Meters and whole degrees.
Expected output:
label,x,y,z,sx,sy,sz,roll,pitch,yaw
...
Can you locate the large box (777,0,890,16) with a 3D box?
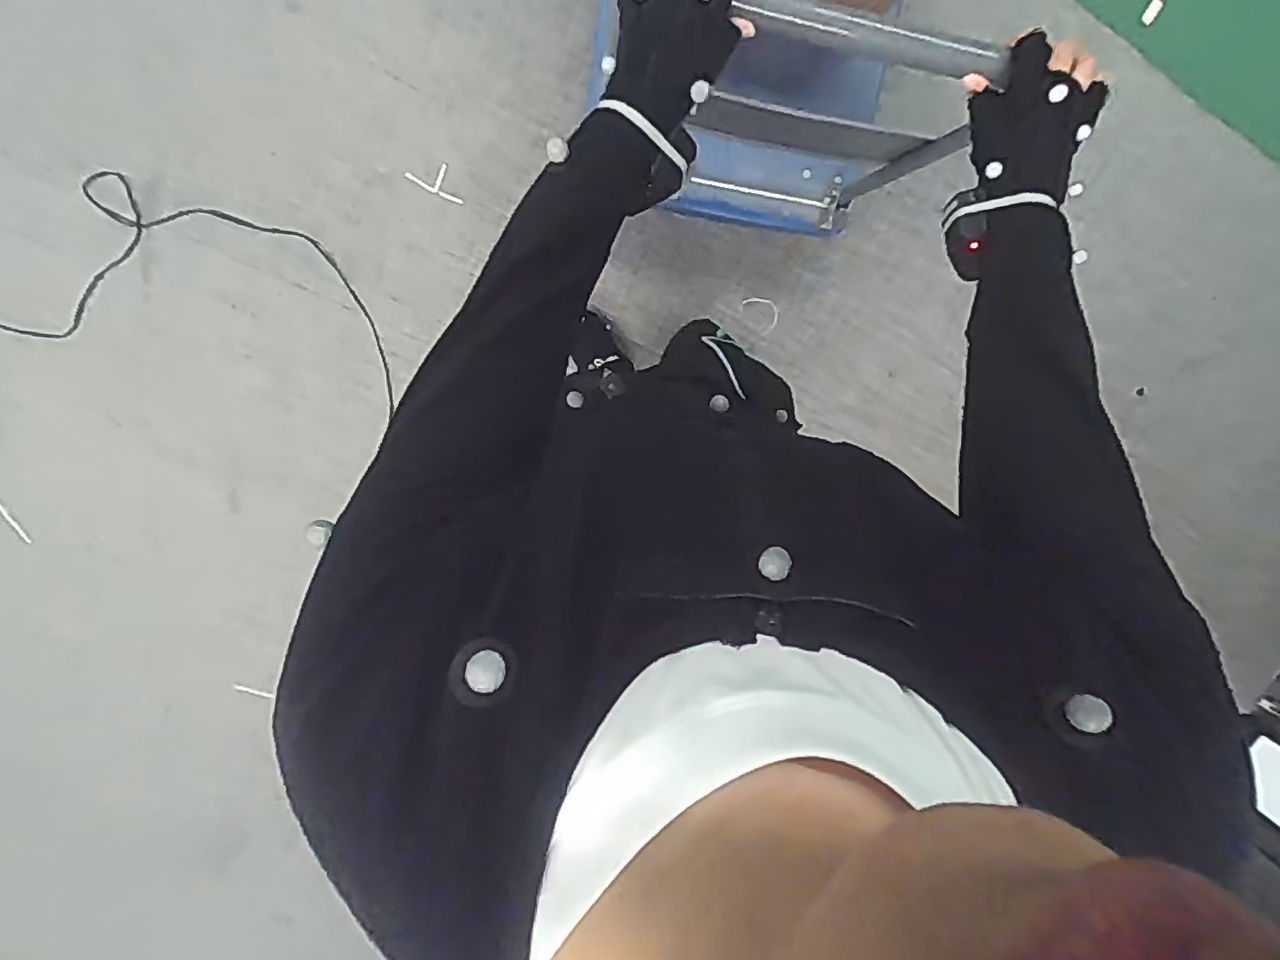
label,x,y,z,sx,sy,sz,roll,pitch,yaw
large box,0.290,-1.011,0.850,0.408,0.320,0.320,5,107,-6
